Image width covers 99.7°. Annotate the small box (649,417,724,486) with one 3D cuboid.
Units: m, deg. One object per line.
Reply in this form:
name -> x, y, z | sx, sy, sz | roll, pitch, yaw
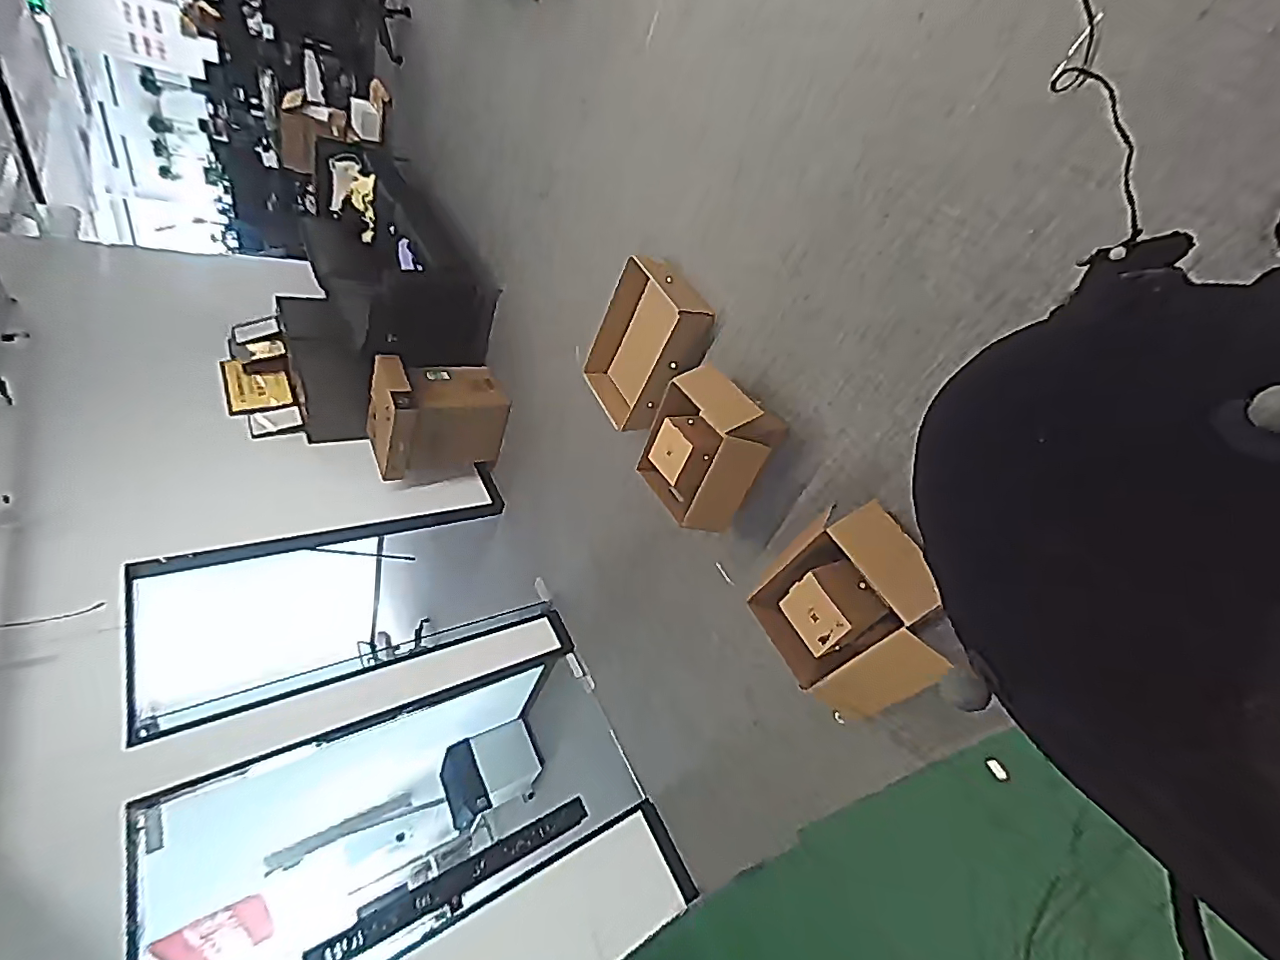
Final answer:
small box -> 0.164, -0.104, 1.856 | 0.168, 0.176, 0.179 | 52, 133, 34
